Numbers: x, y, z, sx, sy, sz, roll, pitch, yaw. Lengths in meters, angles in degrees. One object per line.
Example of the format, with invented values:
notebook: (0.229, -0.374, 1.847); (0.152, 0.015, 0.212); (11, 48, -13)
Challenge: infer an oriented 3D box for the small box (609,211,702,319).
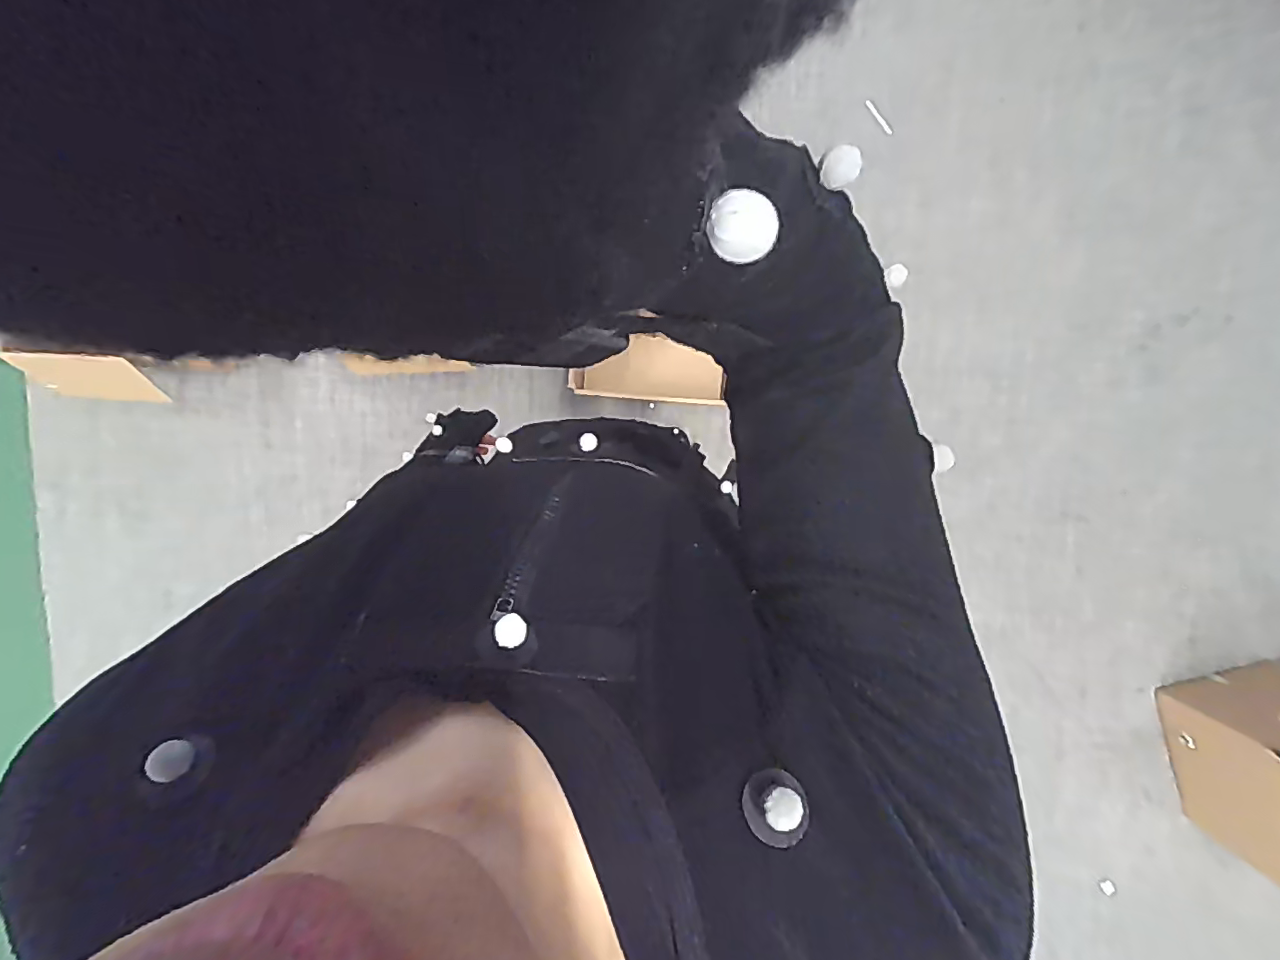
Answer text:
small box: (0.031, -0.443, 1.138); (0.179, 0.176, 0.168); (3, 93, -1)
